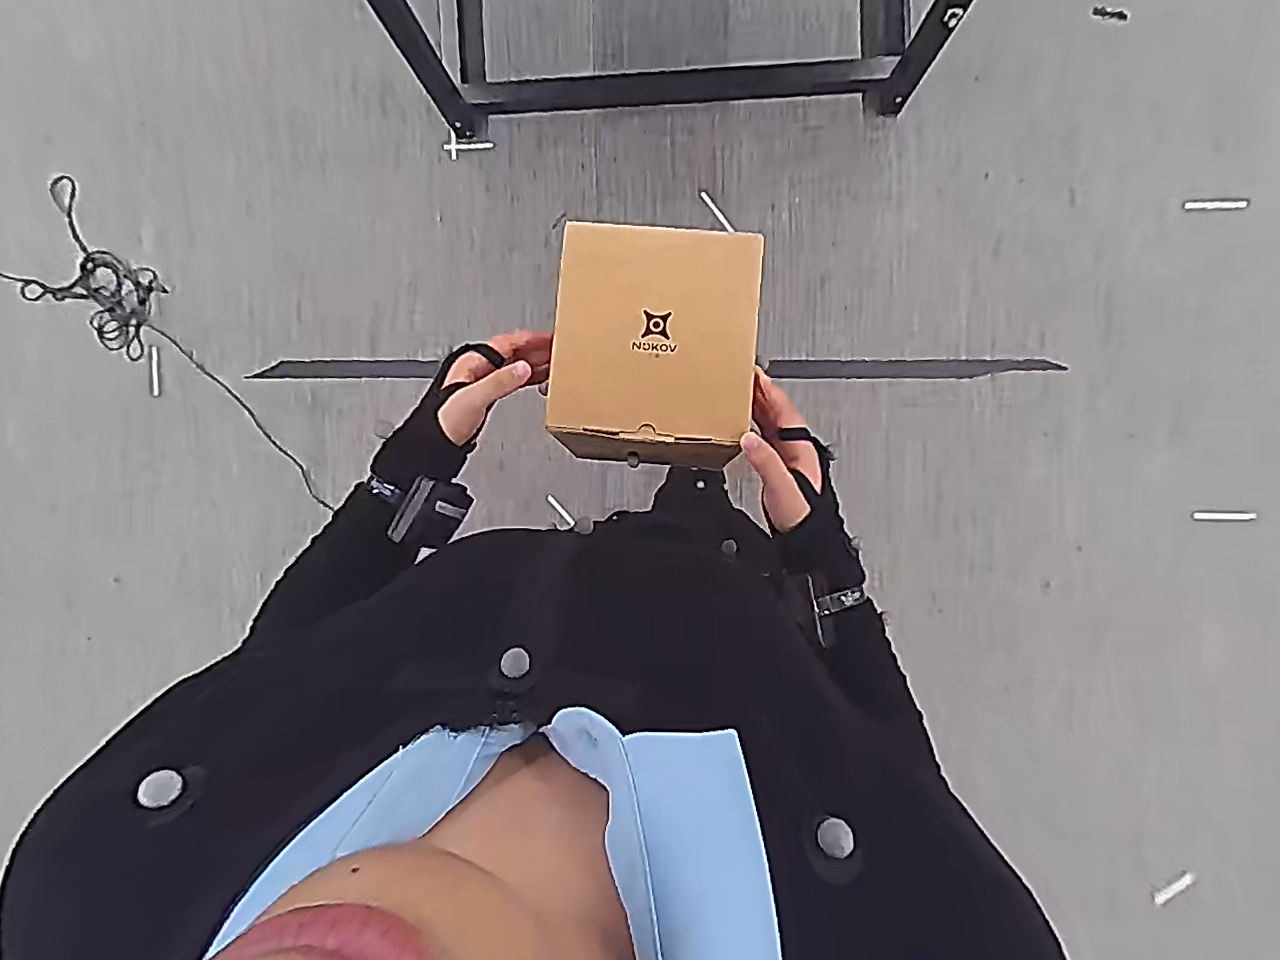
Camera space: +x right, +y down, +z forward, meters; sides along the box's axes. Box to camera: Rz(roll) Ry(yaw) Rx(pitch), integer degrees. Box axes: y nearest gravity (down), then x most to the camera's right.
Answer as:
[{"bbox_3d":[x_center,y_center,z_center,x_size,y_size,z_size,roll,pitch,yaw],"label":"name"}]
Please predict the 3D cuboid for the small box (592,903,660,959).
[{"bbox_3d":[-0.033,1.270,1.441,0.168,0.176,0.179,-4,92,3],"label":"small box"}]
